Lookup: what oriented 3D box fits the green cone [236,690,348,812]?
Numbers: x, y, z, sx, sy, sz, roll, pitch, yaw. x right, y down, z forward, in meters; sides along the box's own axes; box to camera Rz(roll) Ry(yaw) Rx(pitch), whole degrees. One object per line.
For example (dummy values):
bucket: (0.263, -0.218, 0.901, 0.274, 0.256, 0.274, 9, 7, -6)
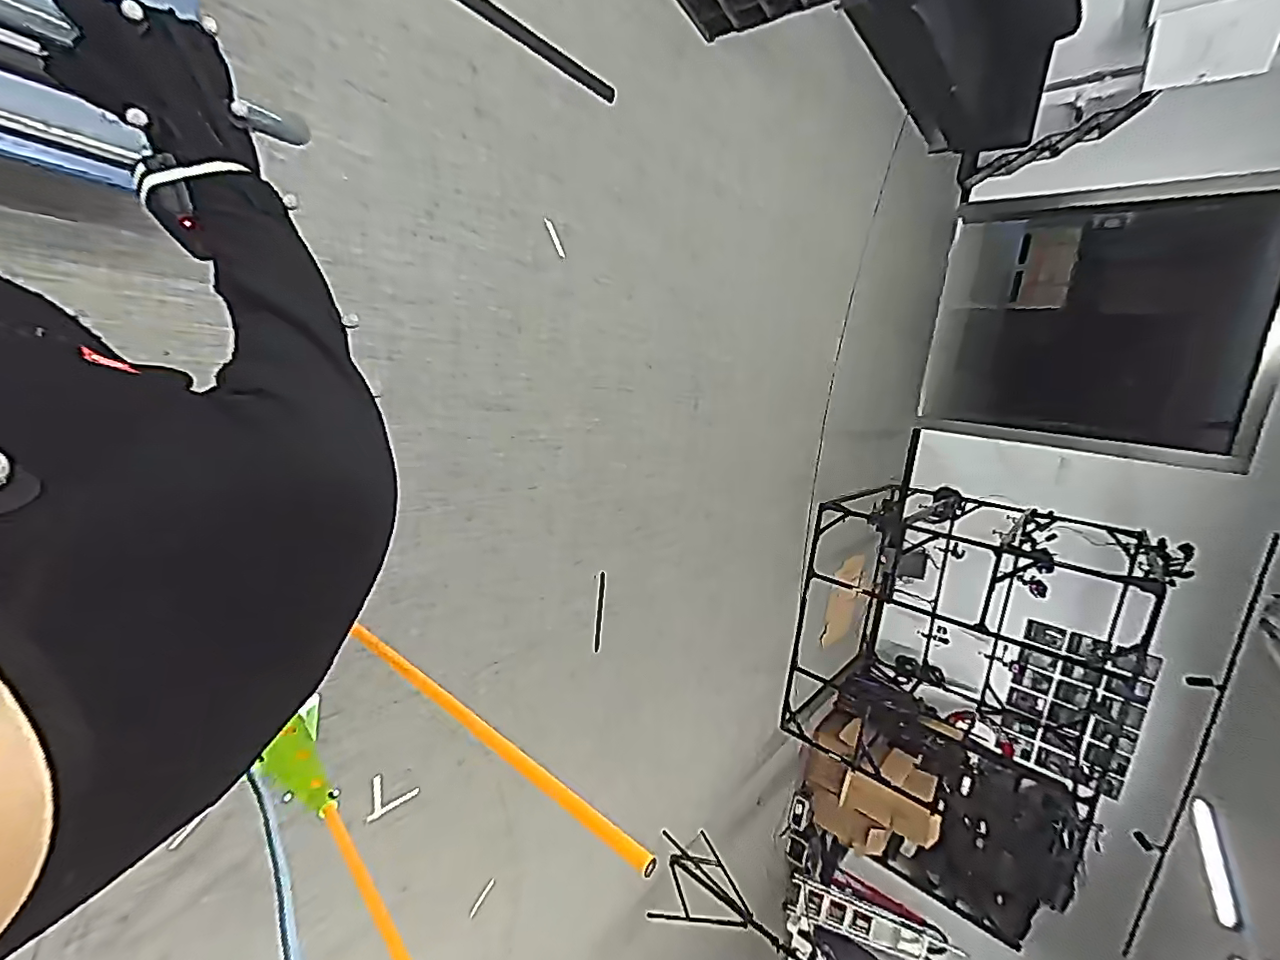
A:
green cone: (-0.841, 0.720, 1.360, 0.202, 0.368, 0.200, -2, 103, -52)
